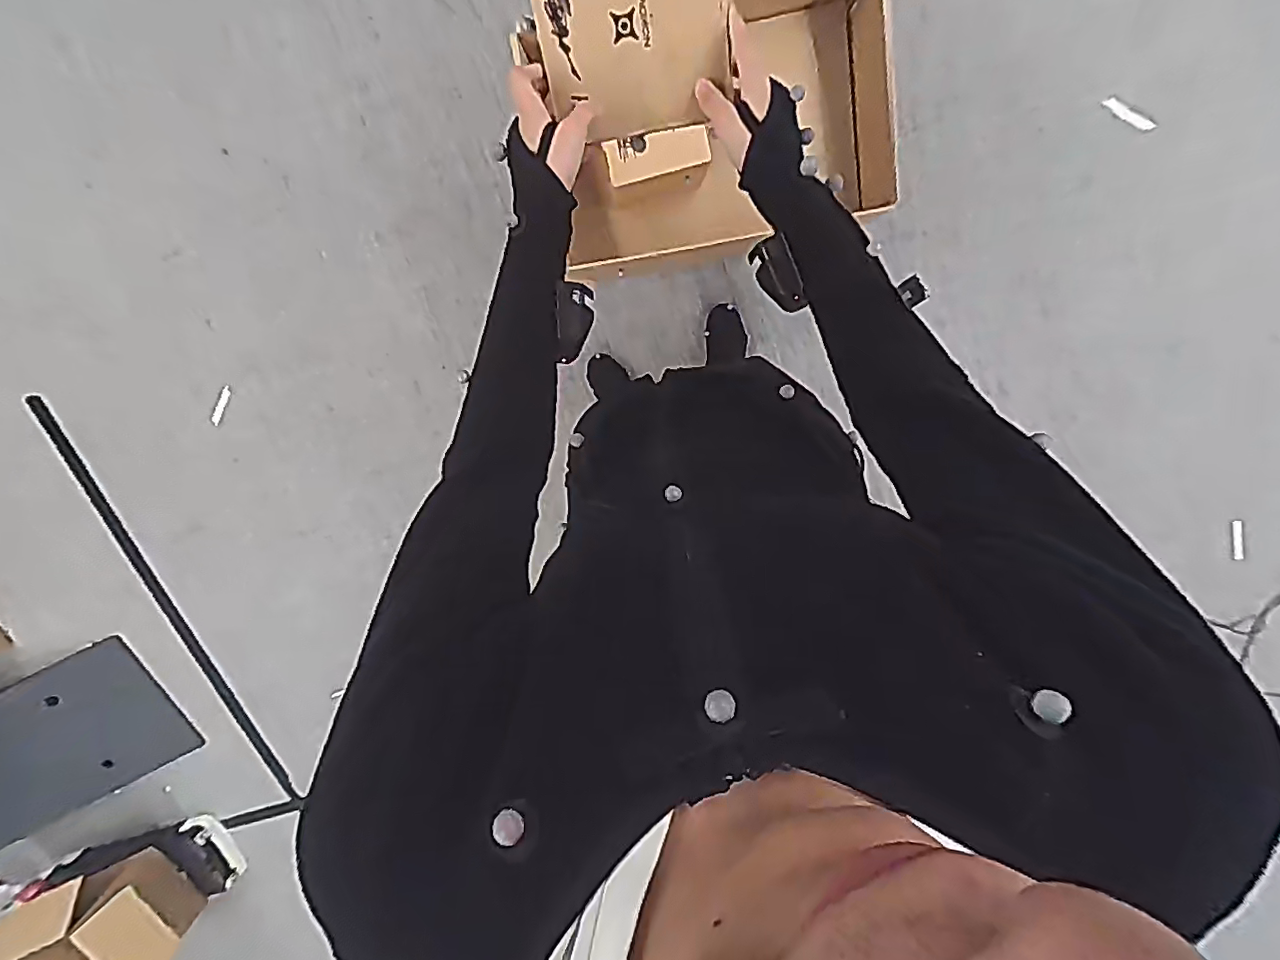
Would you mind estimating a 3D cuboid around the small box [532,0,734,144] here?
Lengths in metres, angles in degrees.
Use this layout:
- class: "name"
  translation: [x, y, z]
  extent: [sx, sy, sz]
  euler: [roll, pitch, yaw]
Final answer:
- class: "small box"
  translation: [-0.013, -0.452, 0.550]
  extent: [0.179, 0.176, 0.168]
  euler: [-10, 122, 1]
